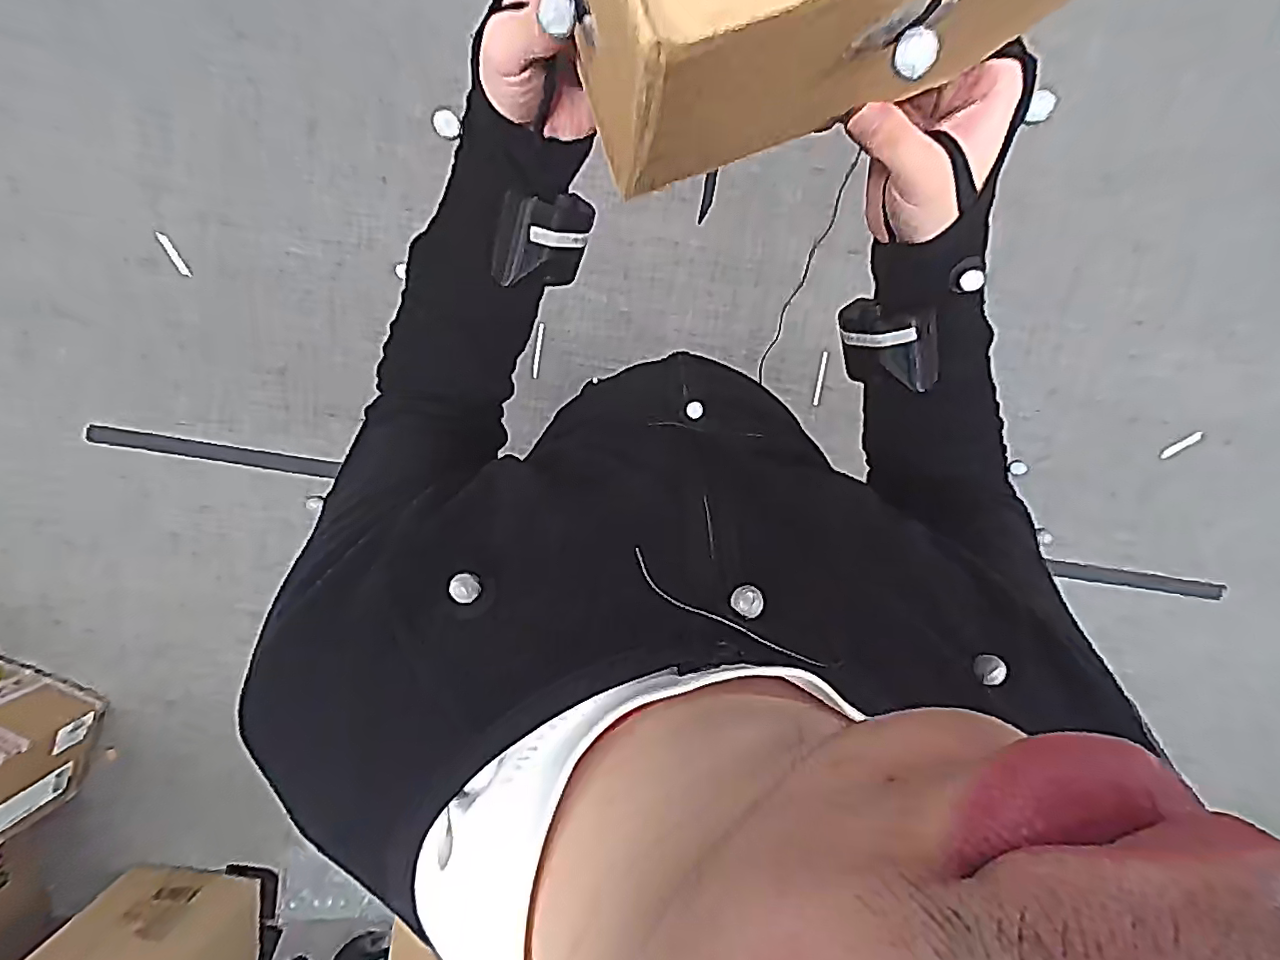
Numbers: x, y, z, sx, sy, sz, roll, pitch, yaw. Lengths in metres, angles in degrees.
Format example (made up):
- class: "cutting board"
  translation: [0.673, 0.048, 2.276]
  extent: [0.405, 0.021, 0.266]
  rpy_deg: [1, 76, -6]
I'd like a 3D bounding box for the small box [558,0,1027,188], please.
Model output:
- class: "small box"
  translation: [0.048, -0.224, 0.182]
  extent: [0.179, 0.176, 0.168]
  rpy_deg: [-20, 108, 2]
